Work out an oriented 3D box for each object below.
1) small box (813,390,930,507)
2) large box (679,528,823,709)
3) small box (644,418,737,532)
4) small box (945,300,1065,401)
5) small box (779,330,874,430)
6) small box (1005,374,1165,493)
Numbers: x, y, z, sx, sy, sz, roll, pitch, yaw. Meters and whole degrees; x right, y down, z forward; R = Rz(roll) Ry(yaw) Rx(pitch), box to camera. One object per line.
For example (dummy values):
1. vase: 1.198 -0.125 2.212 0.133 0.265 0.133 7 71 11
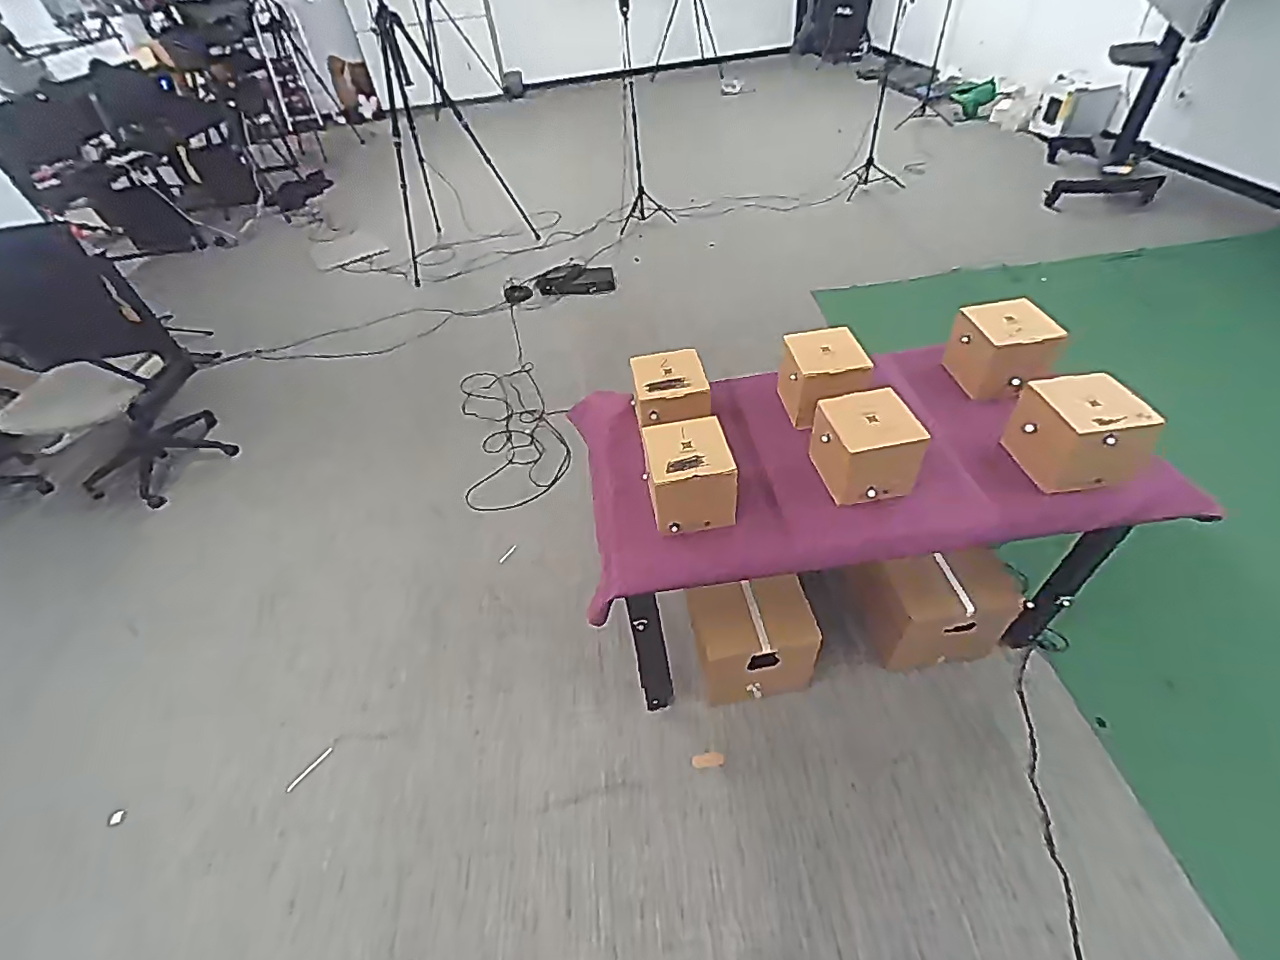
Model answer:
1. small box: 0.486 -0.068 1.169 0.168 0.176 0.179 -10 45 -1
2. large box: 0.319 0.418 1.649 0.320 0.320 0.408 -10 44 -2
3. small box: 0.107 -0.004 1.160 0.168 0.176 0.179 -9 44 -2
4. small box: 0.897 -0.322 1.352 0.168 0.176 0.179 -9 46 3
5. small box: 0.455 -0.249 1.354 0.168 0.176 0.179 -8 46 0
6. small box: 0.910 -0.098 1.131 0.168 0.176 0.179 -8 43 3
